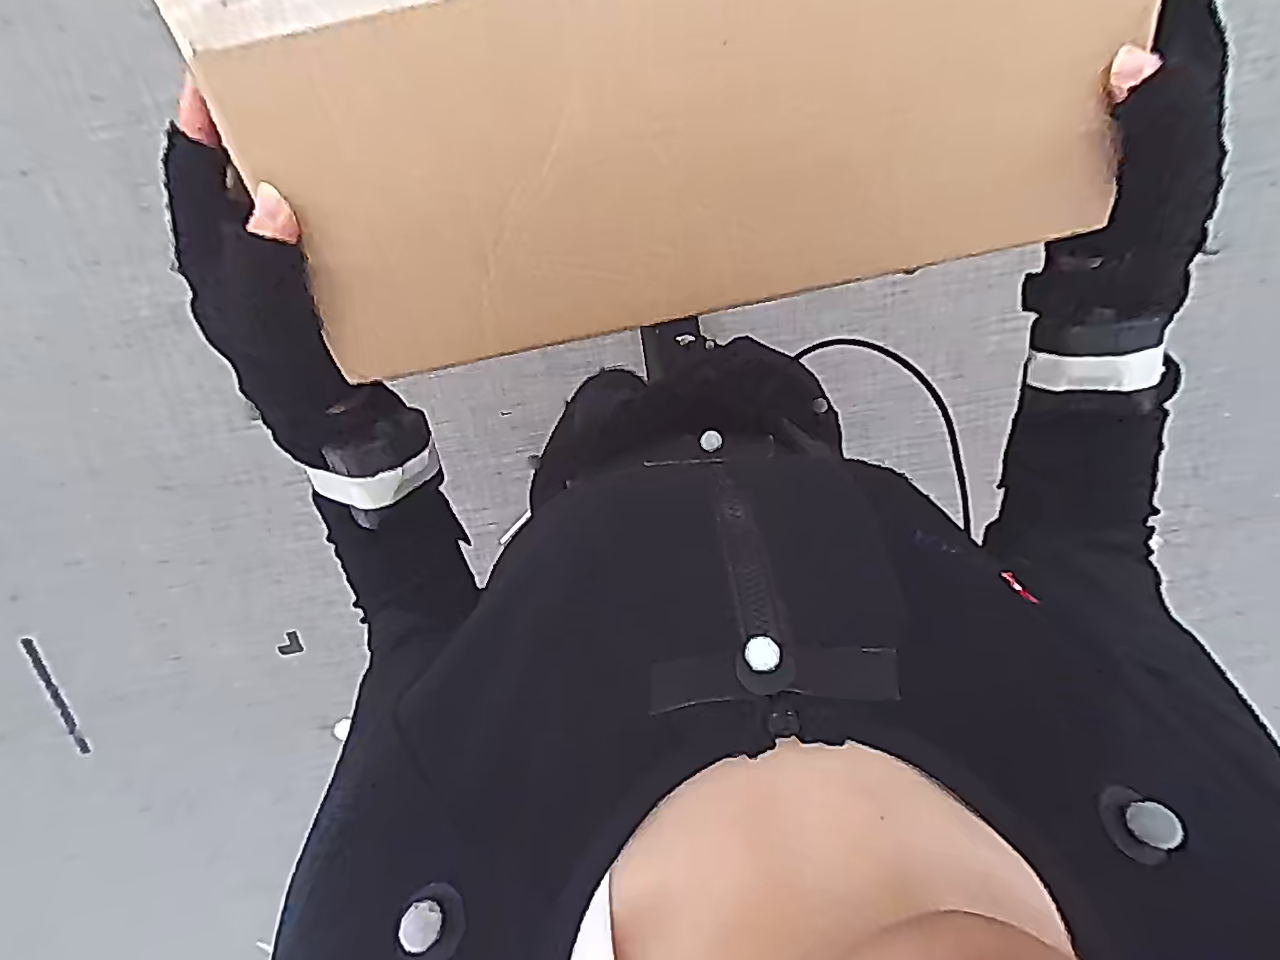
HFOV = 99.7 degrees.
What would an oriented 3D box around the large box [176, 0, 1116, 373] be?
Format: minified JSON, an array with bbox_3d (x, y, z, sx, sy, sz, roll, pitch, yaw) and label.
[{"bbox_3d":[-0.003,-0.304,0.343,0.408,0.320,0.320,-12,120,3],"label":"large box"}]
